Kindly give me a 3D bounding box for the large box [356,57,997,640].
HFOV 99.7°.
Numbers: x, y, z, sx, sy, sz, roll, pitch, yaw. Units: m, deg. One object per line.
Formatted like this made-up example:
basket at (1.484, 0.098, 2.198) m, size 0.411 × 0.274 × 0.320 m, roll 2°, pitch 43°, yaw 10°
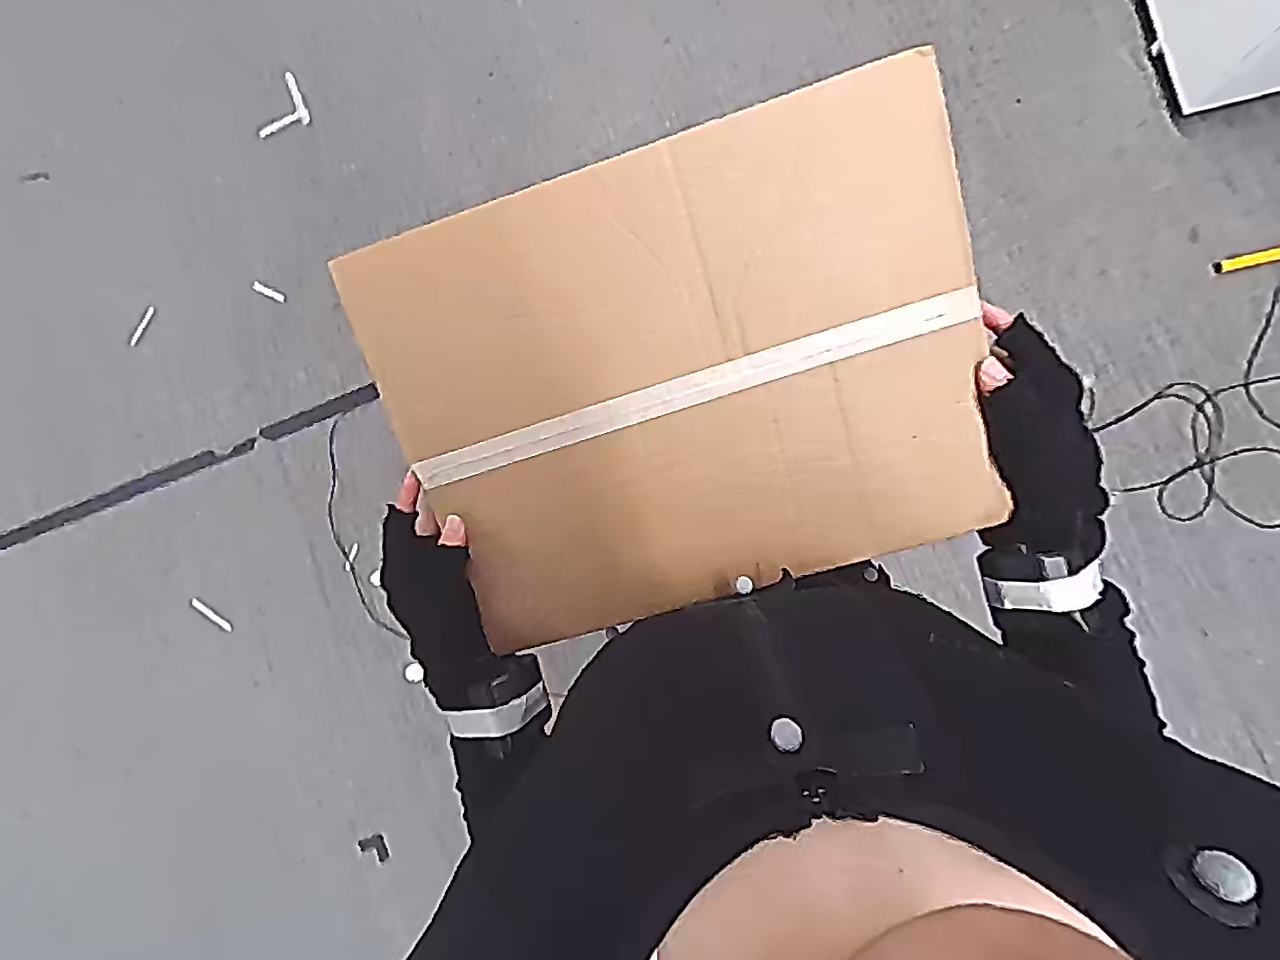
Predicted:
large box at (0.035, -0.099, 0.532) m, size 0.408 × 0.320 × 0.320 m, roll -16°, pitch 103°, yaw 6°
